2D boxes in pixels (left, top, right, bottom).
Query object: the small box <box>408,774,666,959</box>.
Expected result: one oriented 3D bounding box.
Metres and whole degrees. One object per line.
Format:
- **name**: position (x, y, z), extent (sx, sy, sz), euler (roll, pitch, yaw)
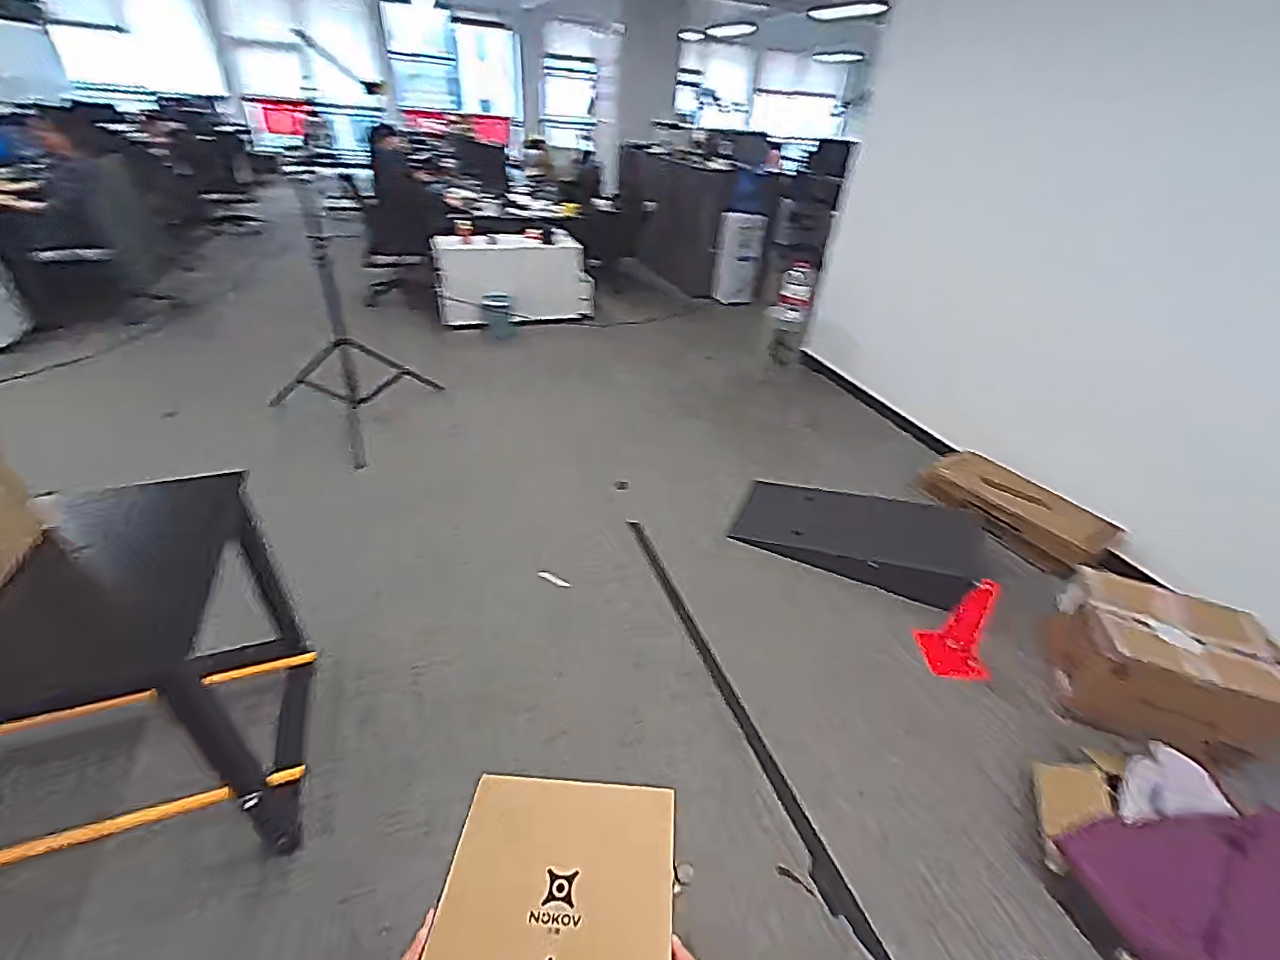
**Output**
- **small box**: position (-0.066, 0.363, 0.416), extent (0.168, 0.176, 0.179), euler (1, 31, 3)
